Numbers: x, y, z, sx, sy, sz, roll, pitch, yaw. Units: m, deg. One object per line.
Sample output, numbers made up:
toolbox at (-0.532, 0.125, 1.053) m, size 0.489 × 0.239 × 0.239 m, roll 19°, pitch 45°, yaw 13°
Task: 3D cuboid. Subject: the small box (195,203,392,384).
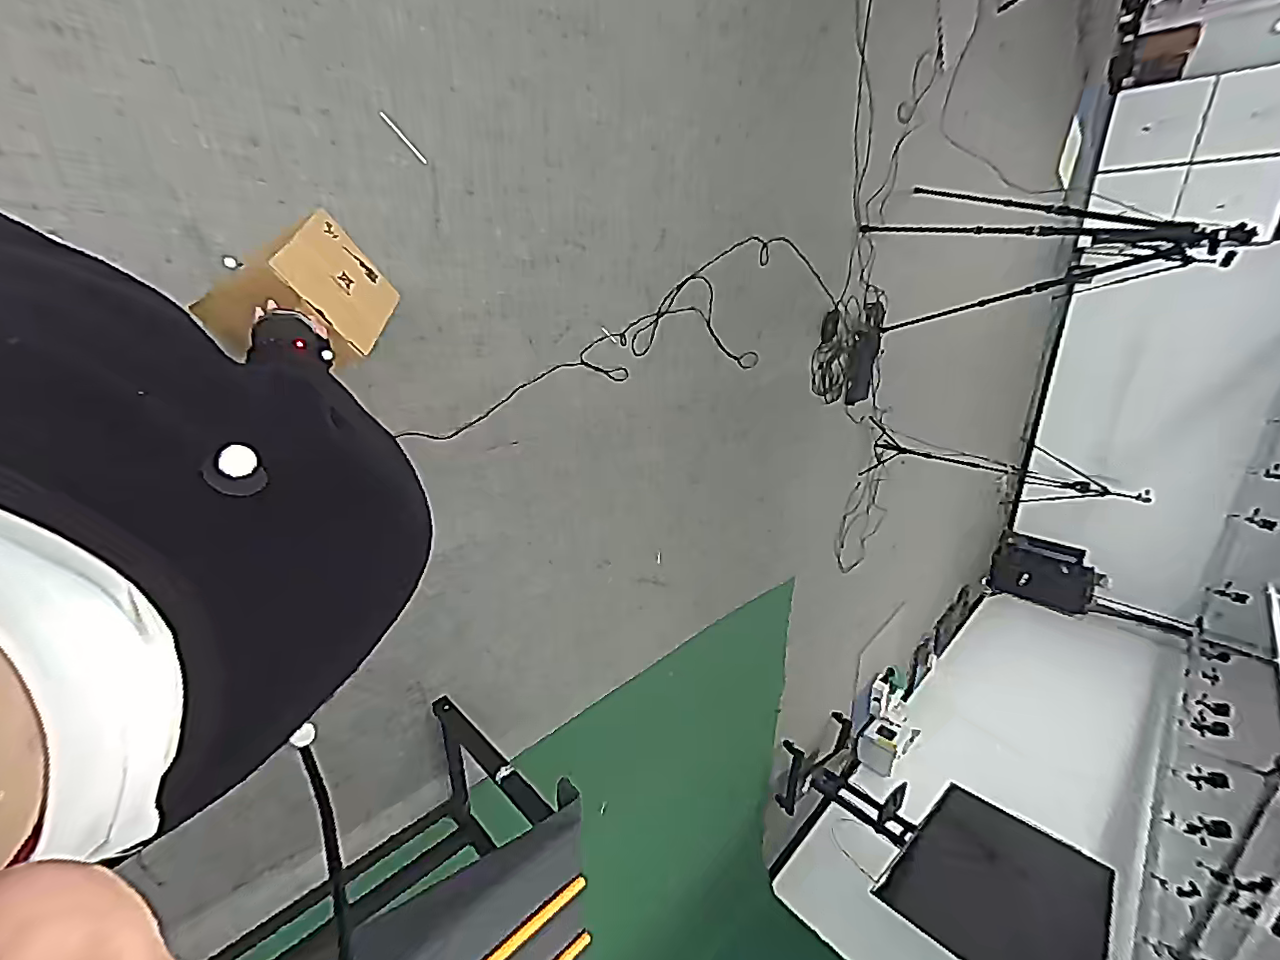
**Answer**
small box at (-0.527, -0.278, 0.831) m, size 0.168 × 0.176 × 0.179 m, roll 52°, pitch 29°, yaw -44°
